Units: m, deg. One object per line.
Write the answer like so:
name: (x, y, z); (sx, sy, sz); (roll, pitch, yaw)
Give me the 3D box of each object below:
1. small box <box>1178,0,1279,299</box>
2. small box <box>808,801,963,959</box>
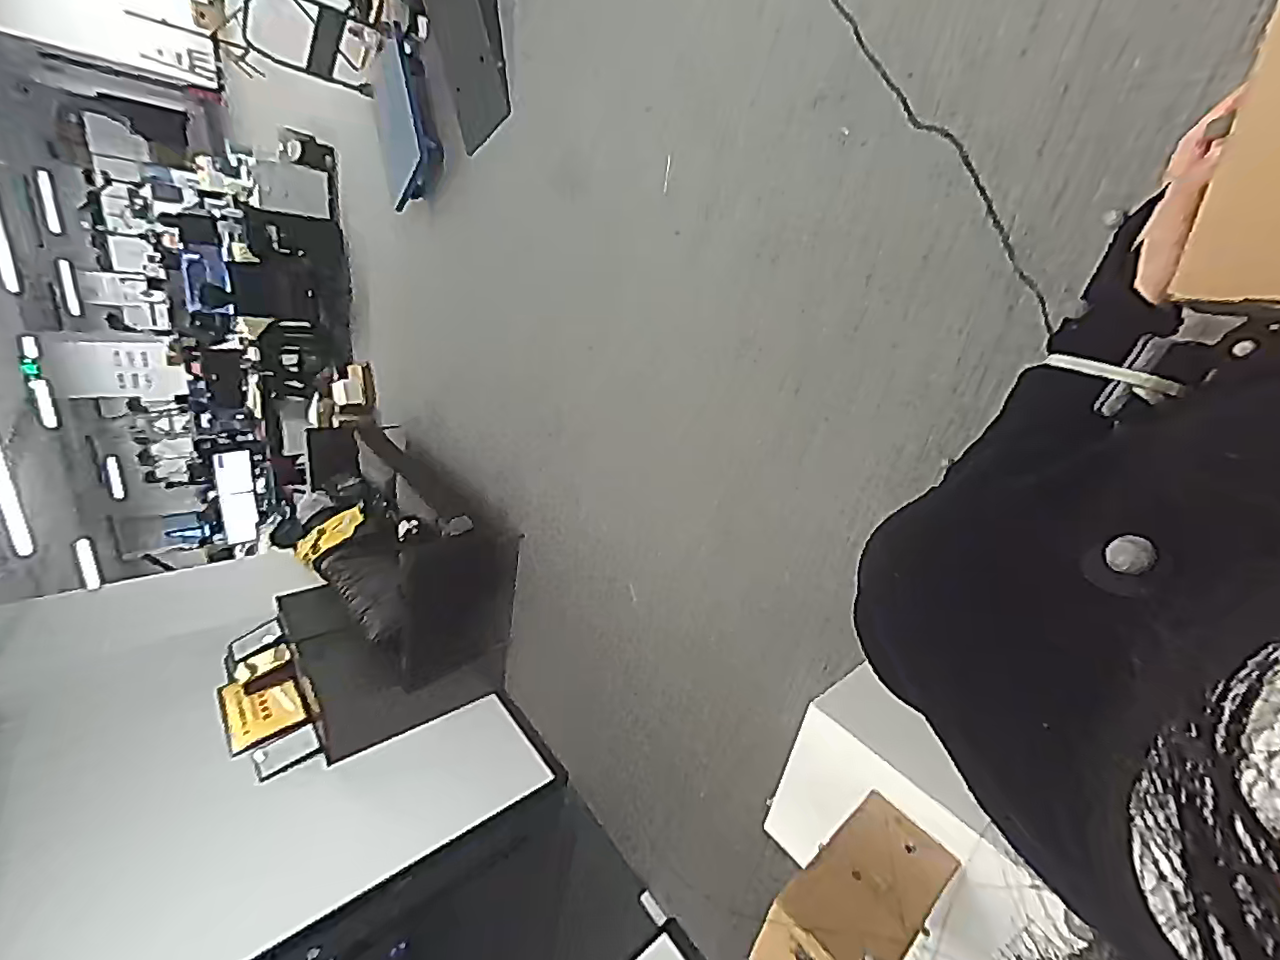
small box: (0.416, -0.185, 0.266); (0.168, 0.176, 0.179); (25, 116, 46)
small box: (0.430, 0.719, 0.948); (0.168, 0.176, 0.179); (32, 121, 42)
